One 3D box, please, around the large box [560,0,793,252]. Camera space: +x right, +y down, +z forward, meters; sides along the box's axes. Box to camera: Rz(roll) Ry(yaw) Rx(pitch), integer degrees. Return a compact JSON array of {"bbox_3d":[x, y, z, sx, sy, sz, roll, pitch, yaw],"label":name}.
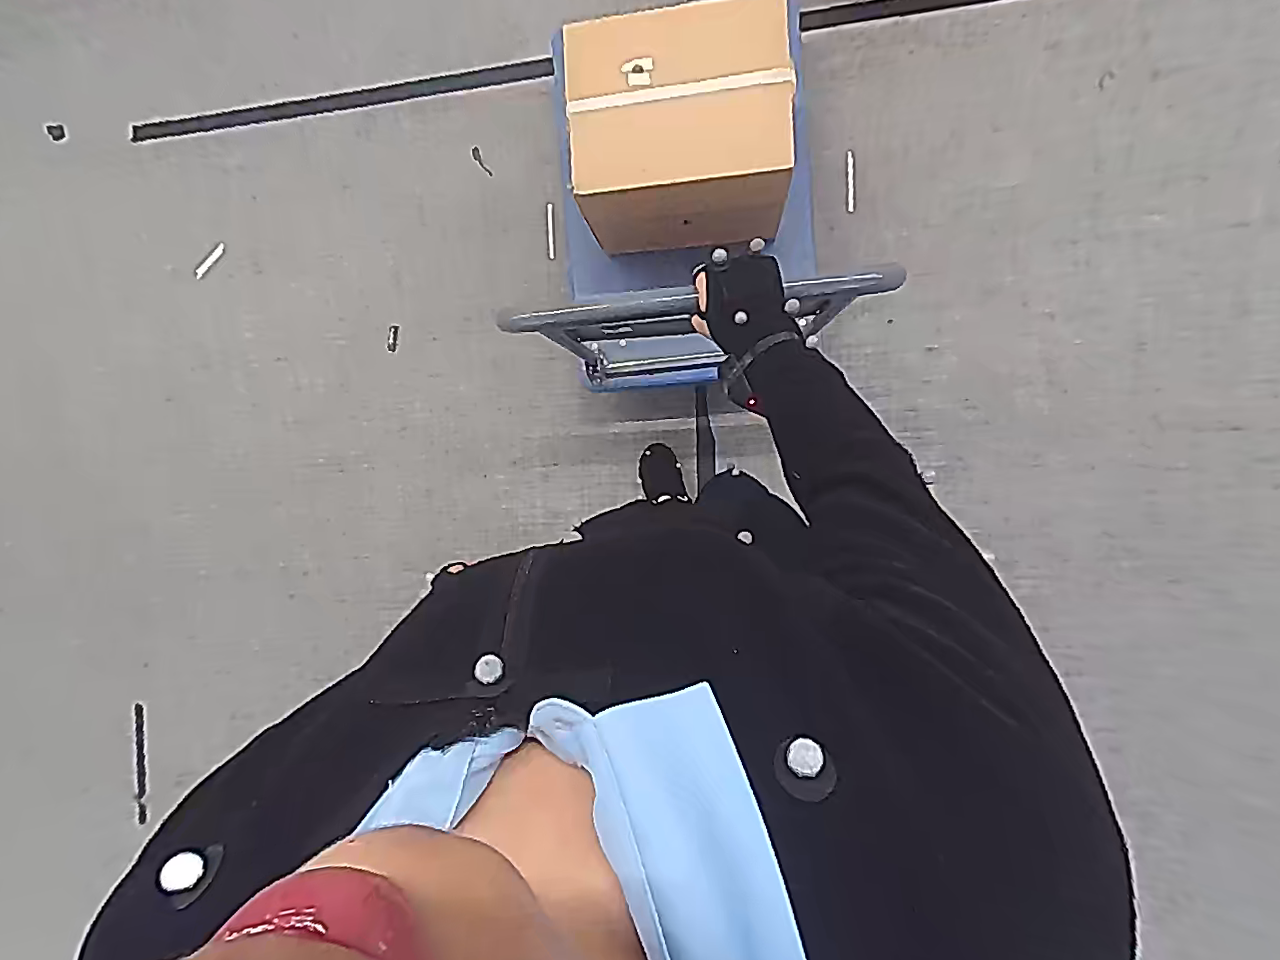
[{"bbox_3d":[0.083,-0.697,1.109,0.408,0.320,0.320,-3,91,9],"label":"large box"}]
